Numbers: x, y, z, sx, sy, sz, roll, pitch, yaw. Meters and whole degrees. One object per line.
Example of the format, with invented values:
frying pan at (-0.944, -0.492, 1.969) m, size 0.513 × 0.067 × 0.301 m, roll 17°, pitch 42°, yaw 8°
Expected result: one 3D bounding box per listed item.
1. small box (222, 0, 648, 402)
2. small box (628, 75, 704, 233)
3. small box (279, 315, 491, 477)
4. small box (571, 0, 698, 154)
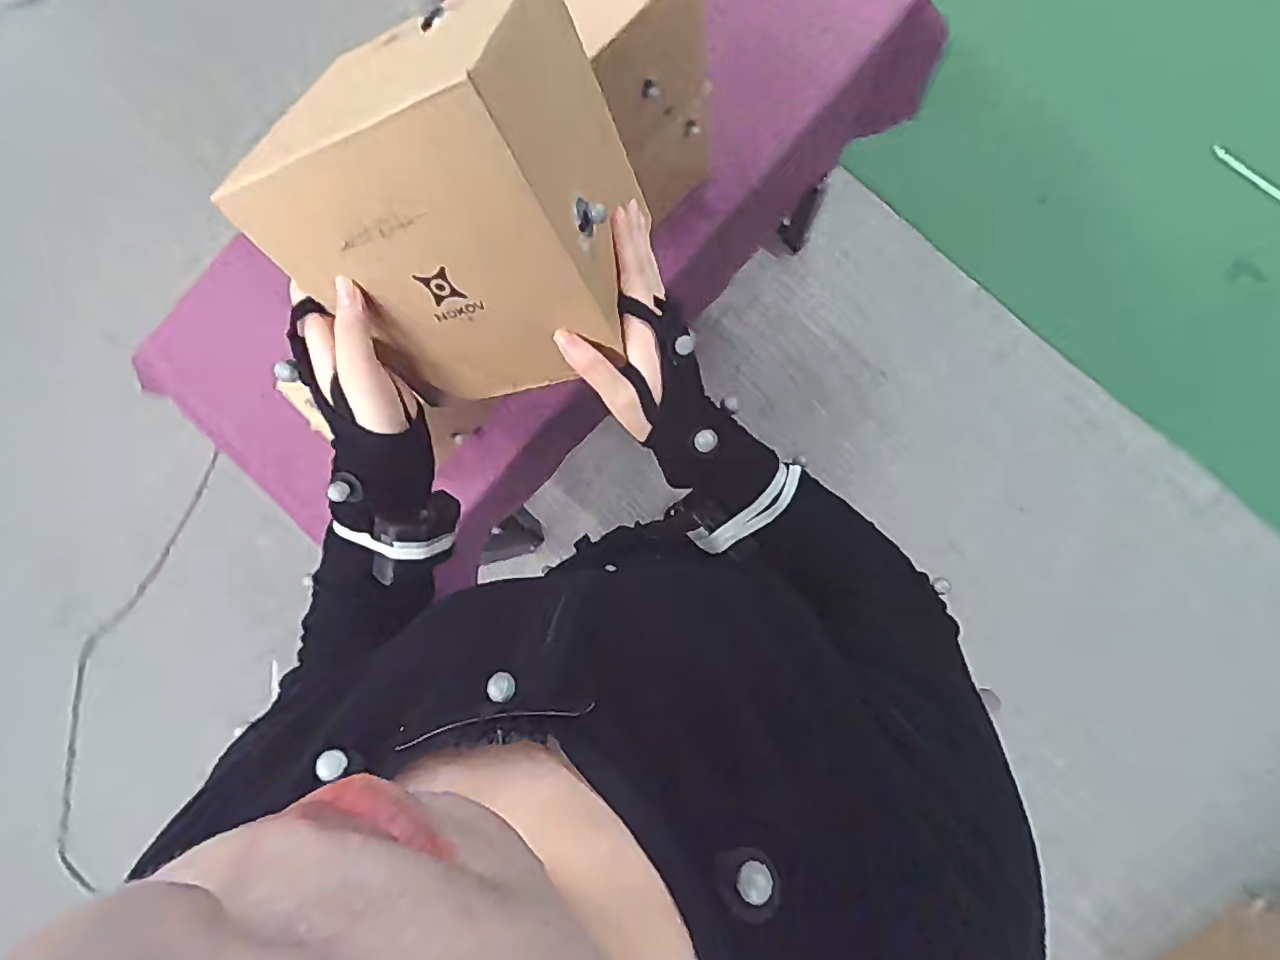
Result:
small box at (-0.102, -0.179, 0.358) m, size 0.168 × 0.179 × 0.176 m, roll -6°, pitch 55°, yaw 21°
small box at (-0.026, -0.458, 0.733) m, size 0.168 × 0.176 × 0.179 m, roll 45°, pitch 92°, yaw 8°
small box at (-0.330, -0.123, 0.746) m, size 0.168 × 0.176 × 0.179 m, roll 44°, pitch 91°, yaw 8°
small box at (-0.050, -0.473, 0.570) m, size 0.168 × 0.176 × 0.179 m, roll -43°, pitch 82°, yaw 2°
